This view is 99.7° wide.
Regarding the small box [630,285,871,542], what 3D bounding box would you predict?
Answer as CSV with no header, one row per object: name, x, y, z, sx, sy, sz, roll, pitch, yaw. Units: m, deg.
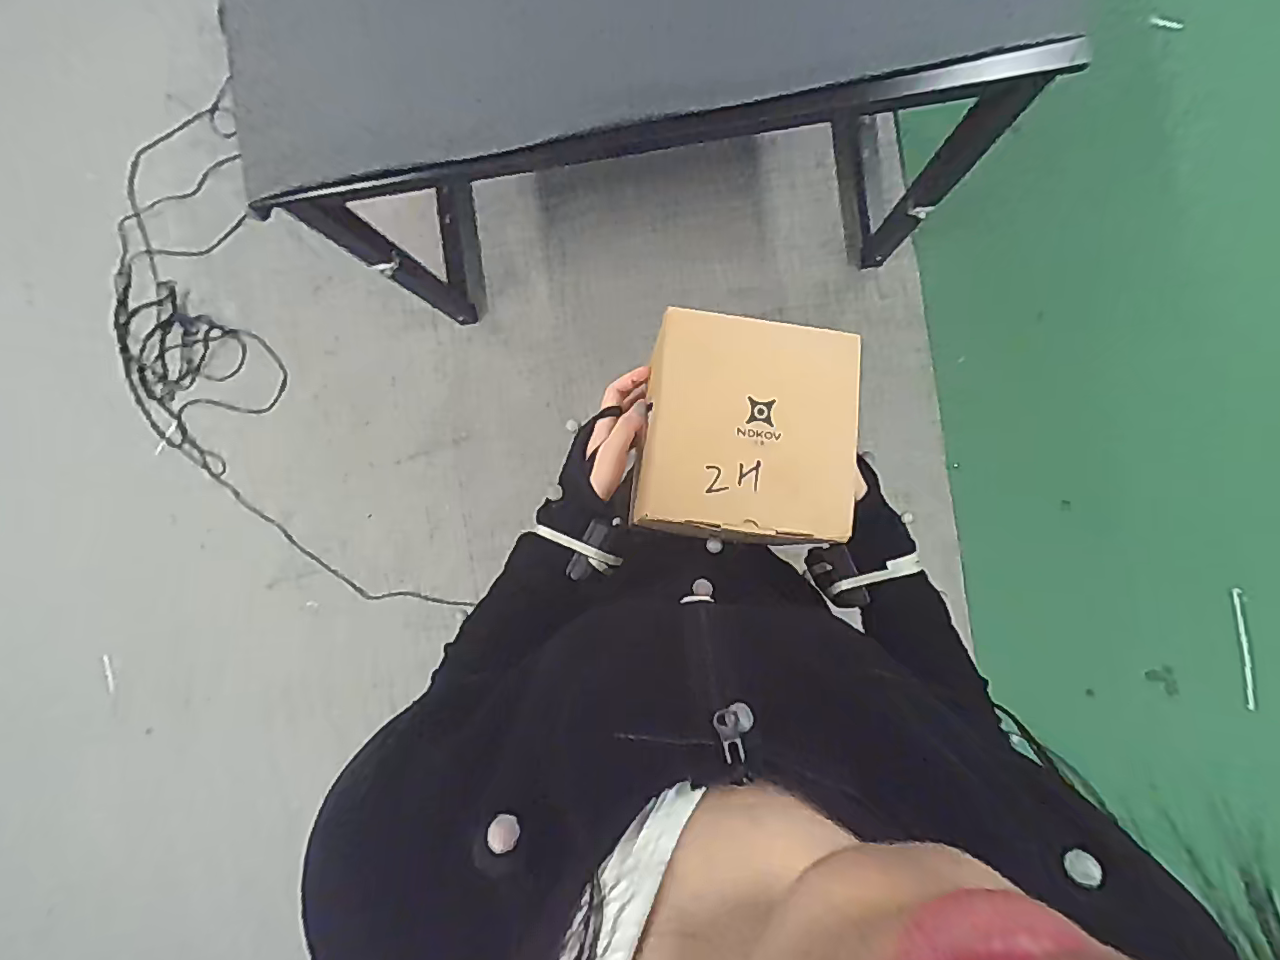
small box,0.086,-0.044,0.490,0.168,0.176,0.179,8,81,-4
